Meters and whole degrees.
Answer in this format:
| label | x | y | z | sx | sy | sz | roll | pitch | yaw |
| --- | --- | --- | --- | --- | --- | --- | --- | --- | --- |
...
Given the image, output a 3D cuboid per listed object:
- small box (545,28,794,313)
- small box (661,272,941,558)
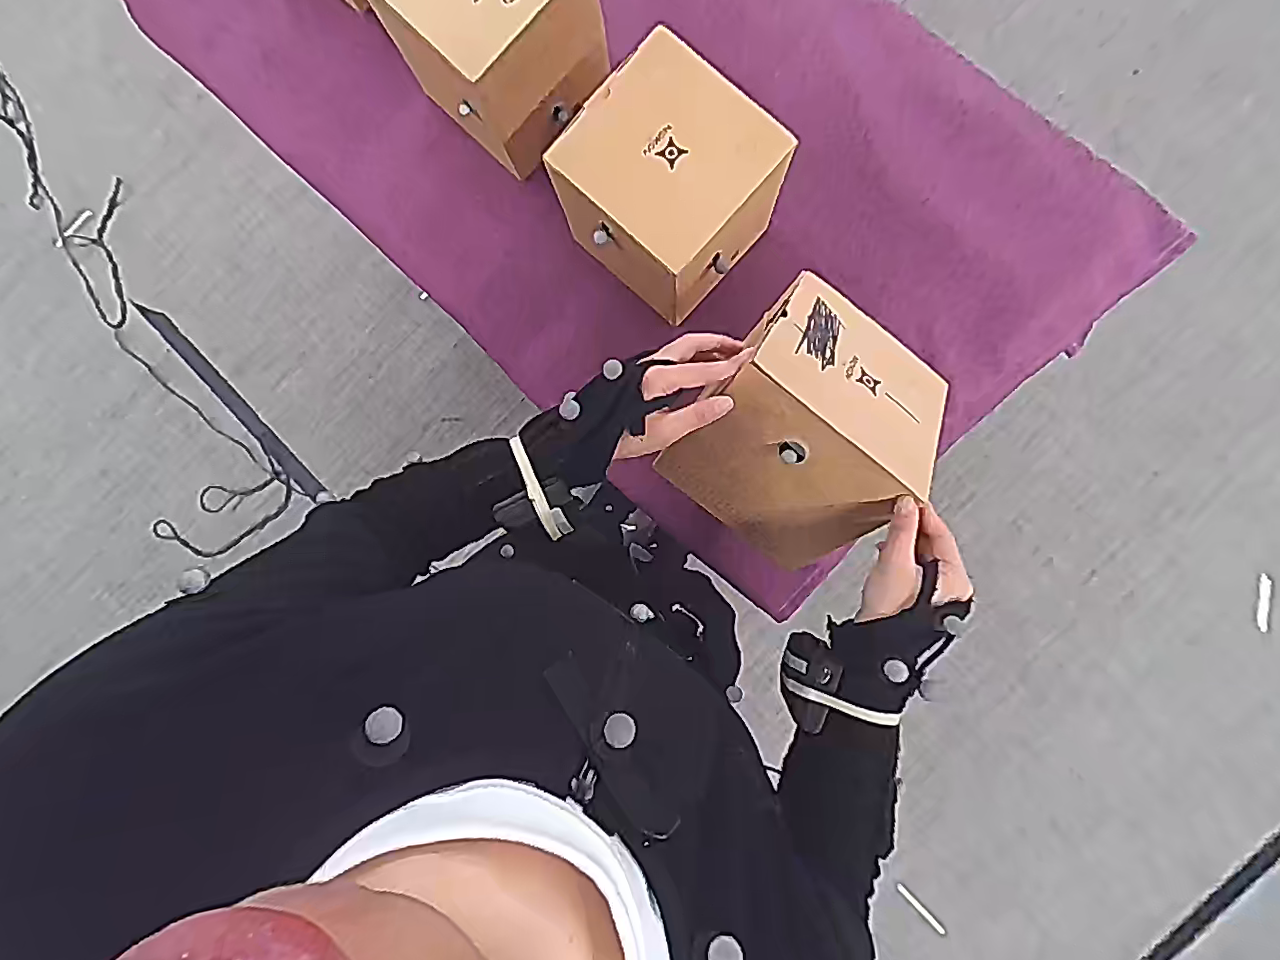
| label | x | y | z | sx | sy | sz | roll | pitch | yaw |
| --- | --- | --- | --- | --- | --- | --- | --- | --- | --- |
| small box | 0.032 | -0.305 | 0.581 | 0.179 | 0.176 | 0.168 | 43 | 92 | 4 |
| small box | 0.148 | -0.052 | 0.515 | 0.179 | 0.176 | 0.168 | 37 | 51 | -6 |
